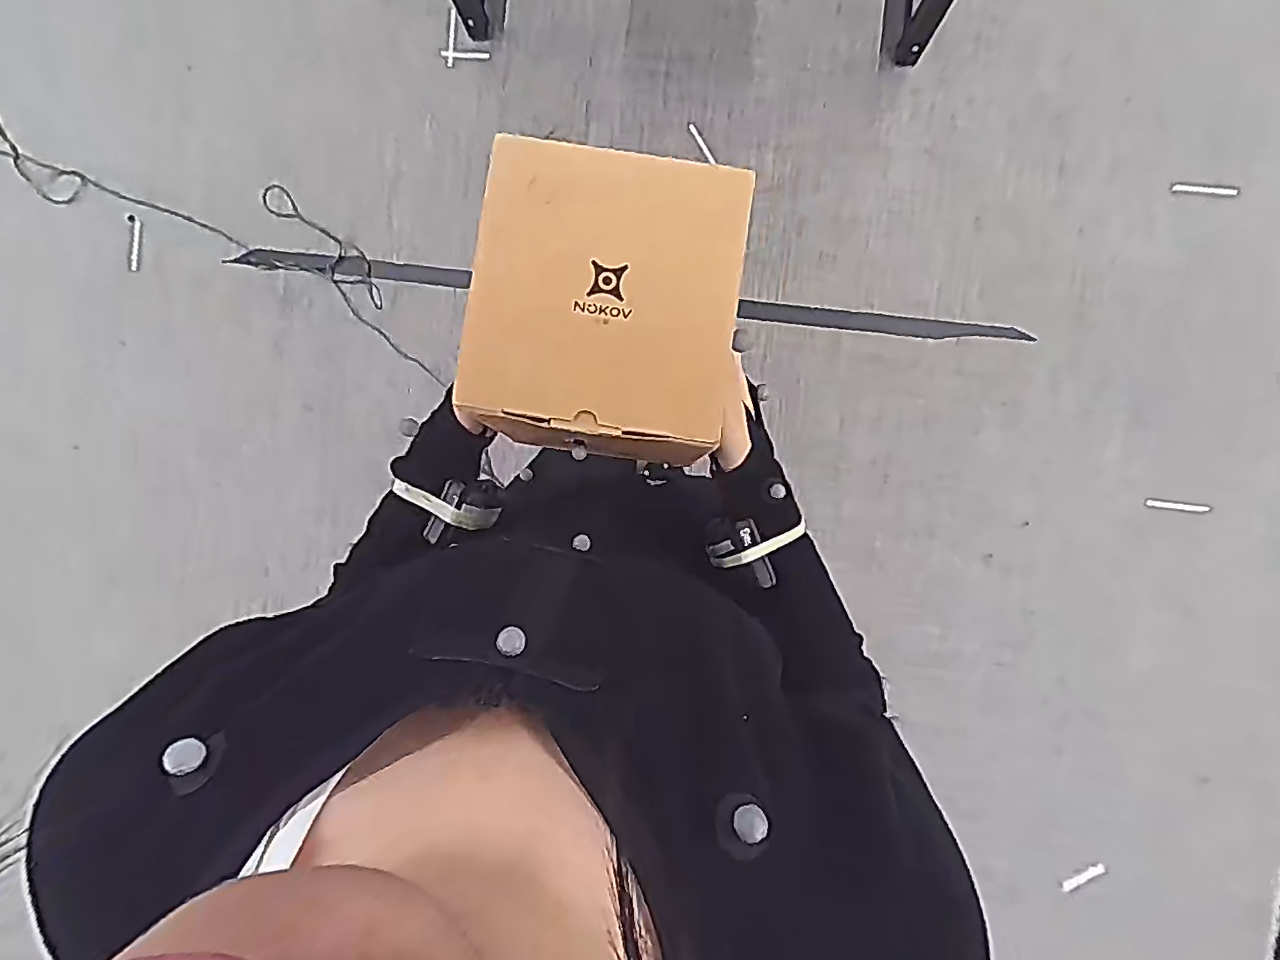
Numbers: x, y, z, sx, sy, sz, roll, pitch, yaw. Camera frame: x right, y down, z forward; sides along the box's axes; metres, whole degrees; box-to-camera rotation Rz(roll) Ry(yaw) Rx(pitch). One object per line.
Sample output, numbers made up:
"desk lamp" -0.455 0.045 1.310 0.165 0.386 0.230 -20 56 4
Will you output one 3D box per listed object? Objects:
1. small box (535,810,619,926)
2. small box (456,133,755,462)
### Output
"small box" -0.159 1.014 1.428 0.179 0.176 0.168 14 92 1
"small box" -0.022 -0.115 0.413 0.168 0.176 0.179 8 88 -1
